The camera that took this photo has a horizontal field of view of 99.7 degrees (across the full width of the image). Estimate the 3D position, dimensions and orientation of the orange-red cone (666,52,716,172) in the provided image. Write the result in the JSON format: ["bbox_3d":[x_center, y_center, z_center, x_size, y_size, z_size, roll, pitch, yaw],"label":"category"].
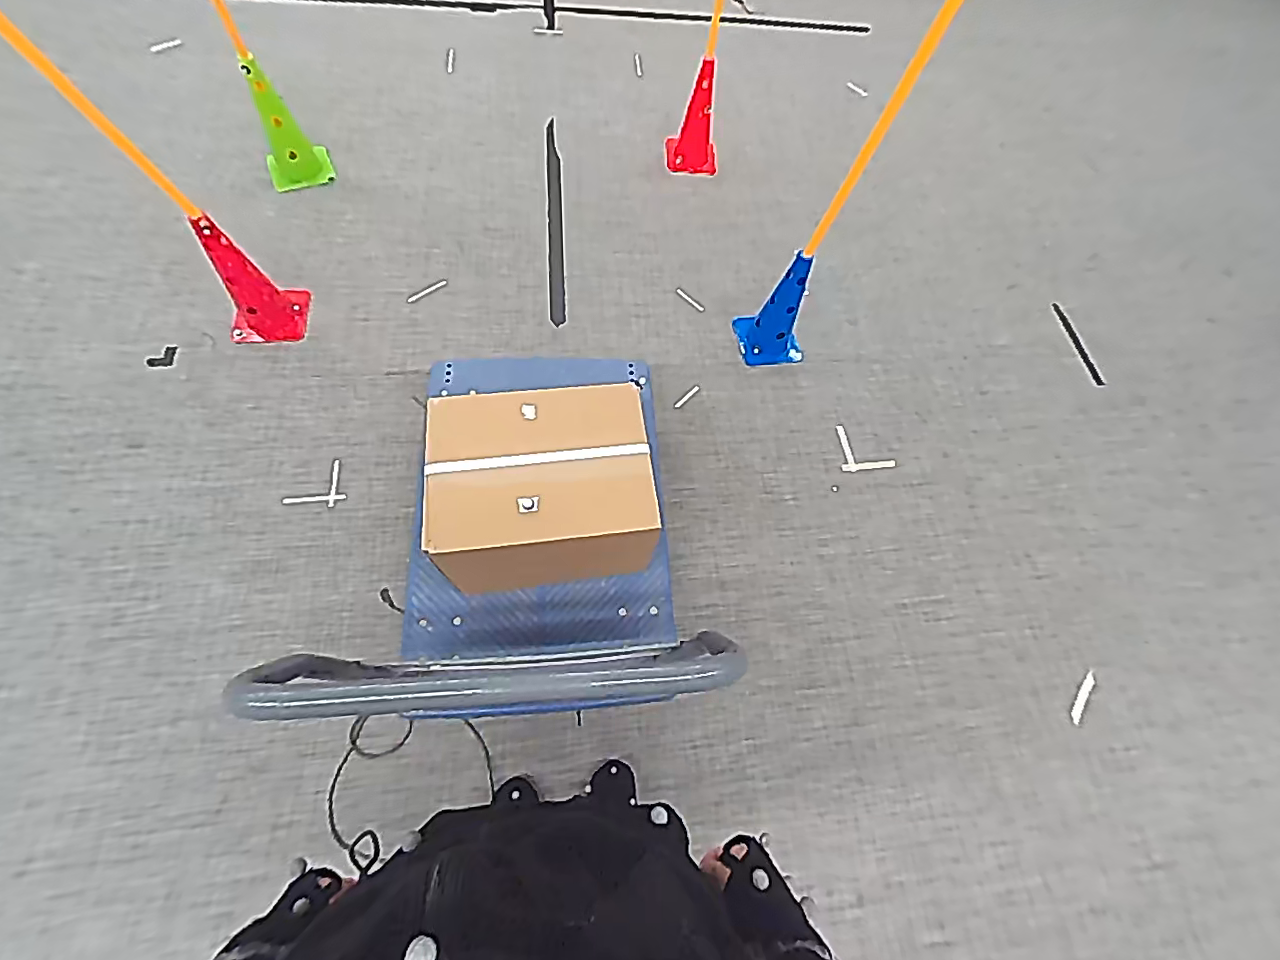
[{"bbox_3d":[0.220,-1.365,1.987,0.199,0.360,0.198,4,65,-6],"label":"orange-red cone"}]

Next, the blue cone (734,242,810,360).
[{"bbox_3d":[0.435,-0.549,1.644,0.193,0.380,0.192,-6,65,-10],"label":"blue cone"}]
